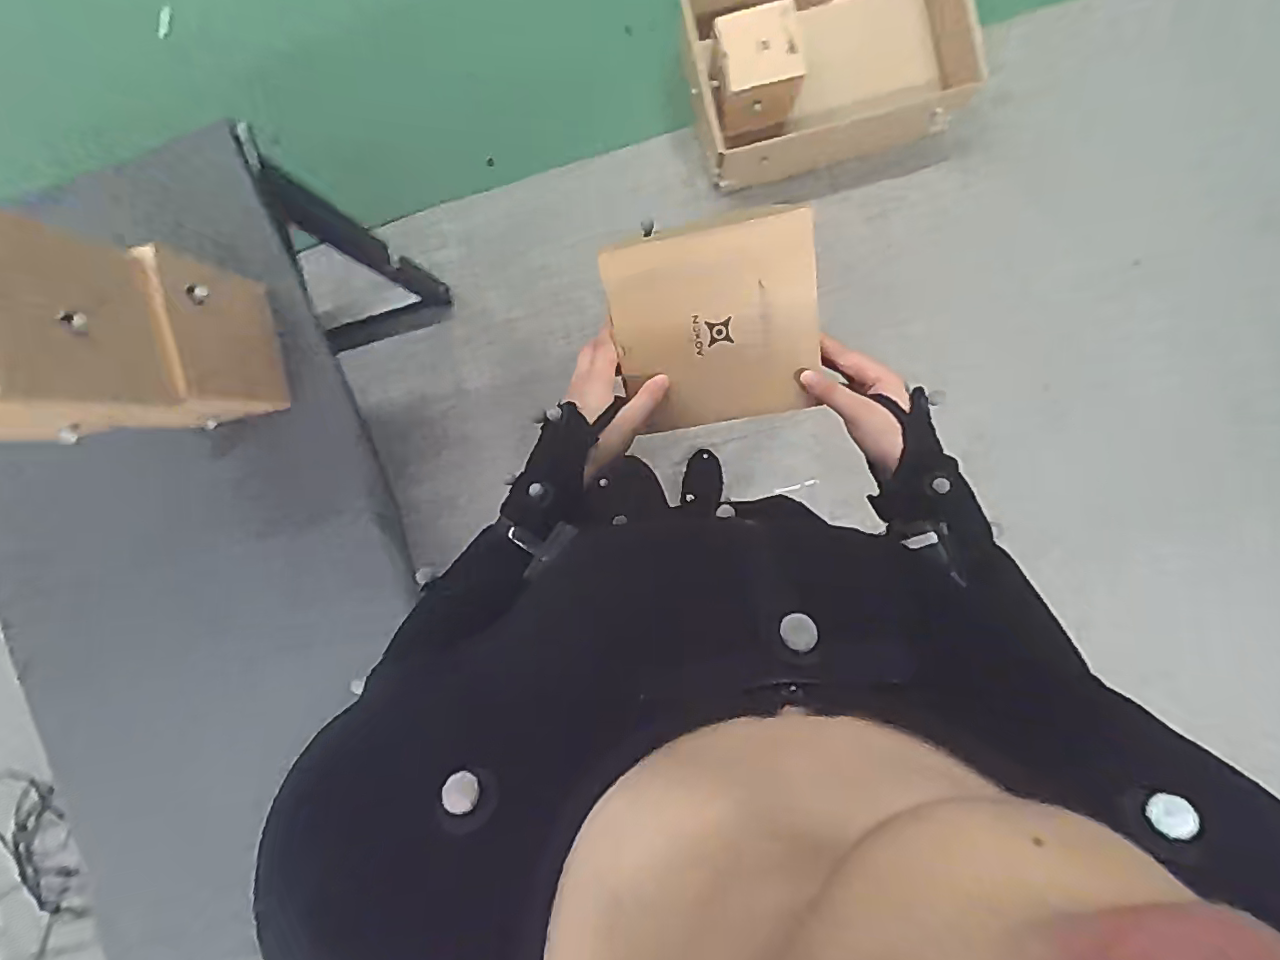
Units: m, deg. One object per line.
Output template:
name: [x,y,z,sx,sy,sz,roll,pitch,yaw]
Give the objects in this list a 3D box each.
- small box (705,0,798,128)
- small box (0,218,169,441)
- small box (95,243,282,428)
small box: [0.252,-0.969,1.268,0.179,0.176,0.168,-13,95,3]
small box: [-0.613,-0.134,0.513,0.168,0.176,0.179,-12,95,5]
small box: [-0.594,-0.165,0.674,0.168,0.176,0.179,-11,95,5]
